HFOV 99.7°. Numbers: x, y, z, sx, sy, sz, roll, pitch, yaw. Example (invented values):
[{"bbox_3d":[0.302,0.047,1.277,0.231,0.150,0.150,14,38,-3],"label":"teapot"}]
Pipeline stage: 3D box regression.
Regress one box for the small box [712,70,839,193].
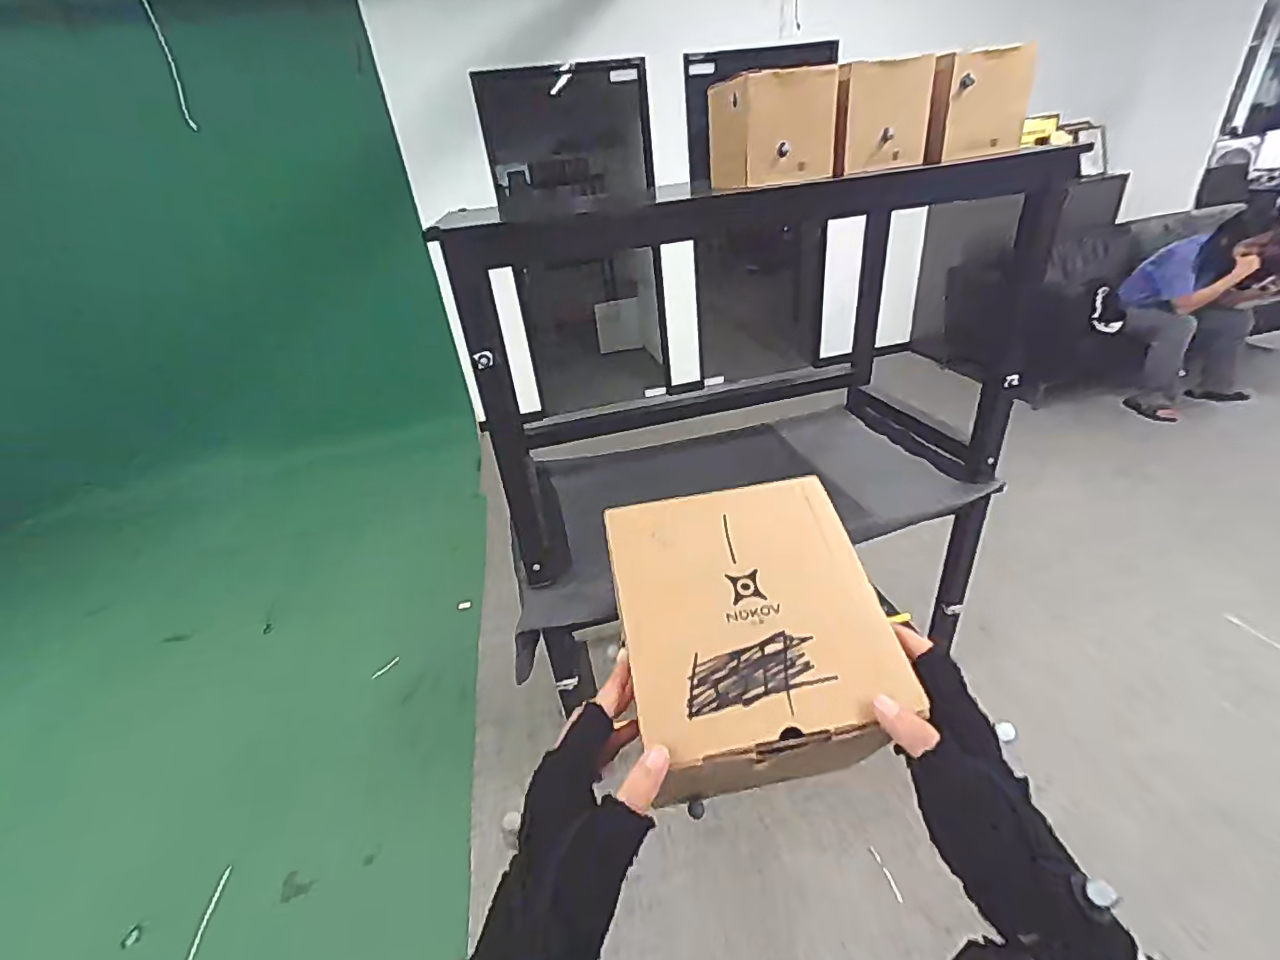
[{"bbox_3d":[0.236,-0.623,0.984,0.168,0.176,0.179,-12,30,-10],"label":"small box"}]
